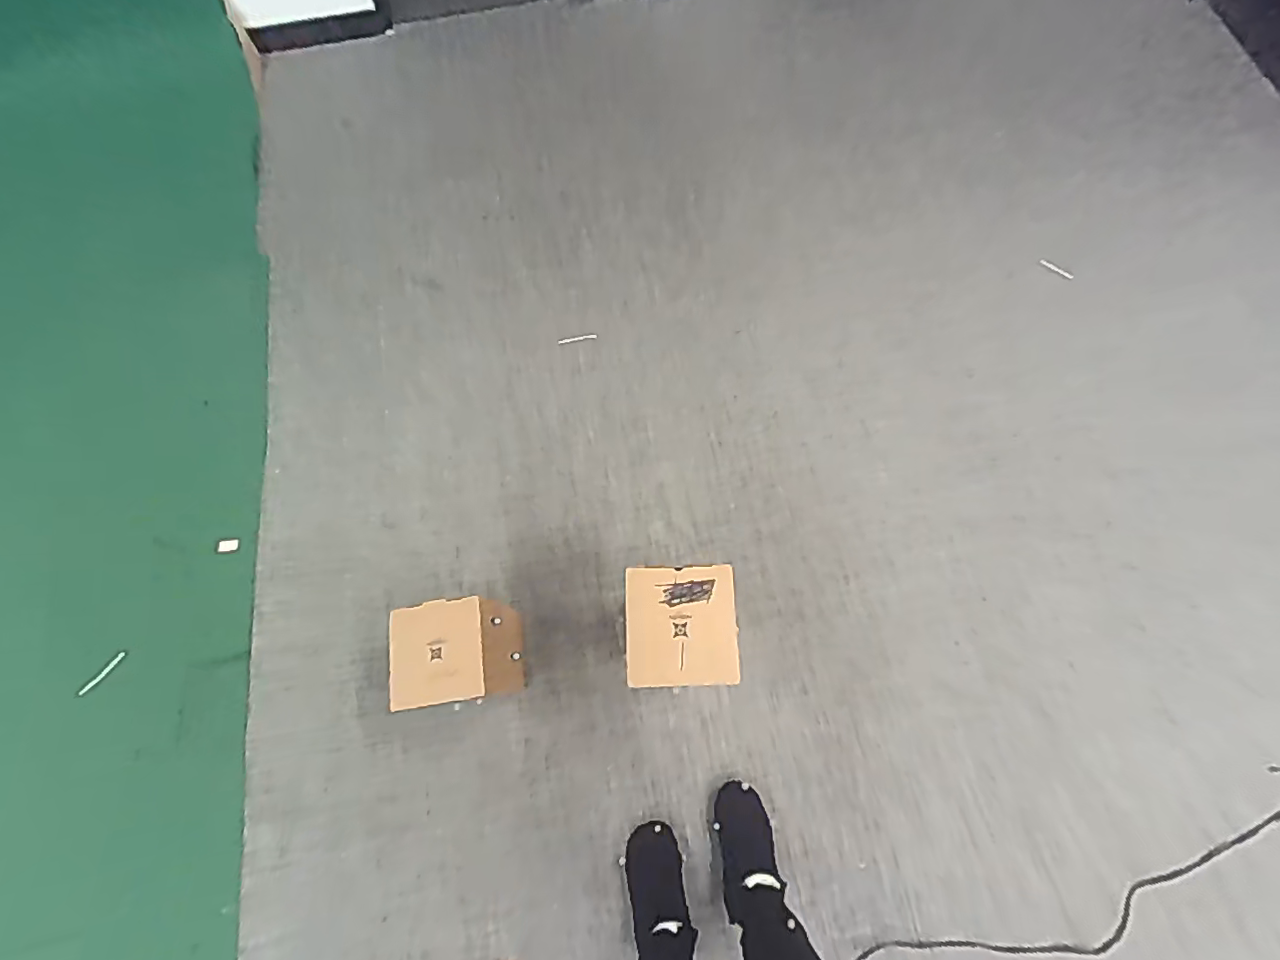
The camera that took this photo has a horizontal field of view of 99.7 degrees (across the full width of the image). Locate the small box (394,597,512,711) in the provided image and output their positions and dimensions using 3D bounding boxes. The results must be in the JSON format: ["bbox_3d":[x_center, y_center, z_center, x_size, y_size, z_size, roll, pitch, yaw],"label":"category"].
[{"bbox_3d":[-0.352,0.332,1.035,0.168,0.176,0.179,-10,72,-1],"label":"small box"}]

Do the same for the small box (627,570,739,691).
[{"bbox_3d":[0.062,0.246,0.882,0.168,0.176,0.179,-1,73,1],"label":"small box"}]

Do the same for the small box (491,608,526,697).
[{"bbox_3d":[-0.352,0.382,1.190,0.168,0.176,0.179,-6,72,-1],"label":"small box"}]
